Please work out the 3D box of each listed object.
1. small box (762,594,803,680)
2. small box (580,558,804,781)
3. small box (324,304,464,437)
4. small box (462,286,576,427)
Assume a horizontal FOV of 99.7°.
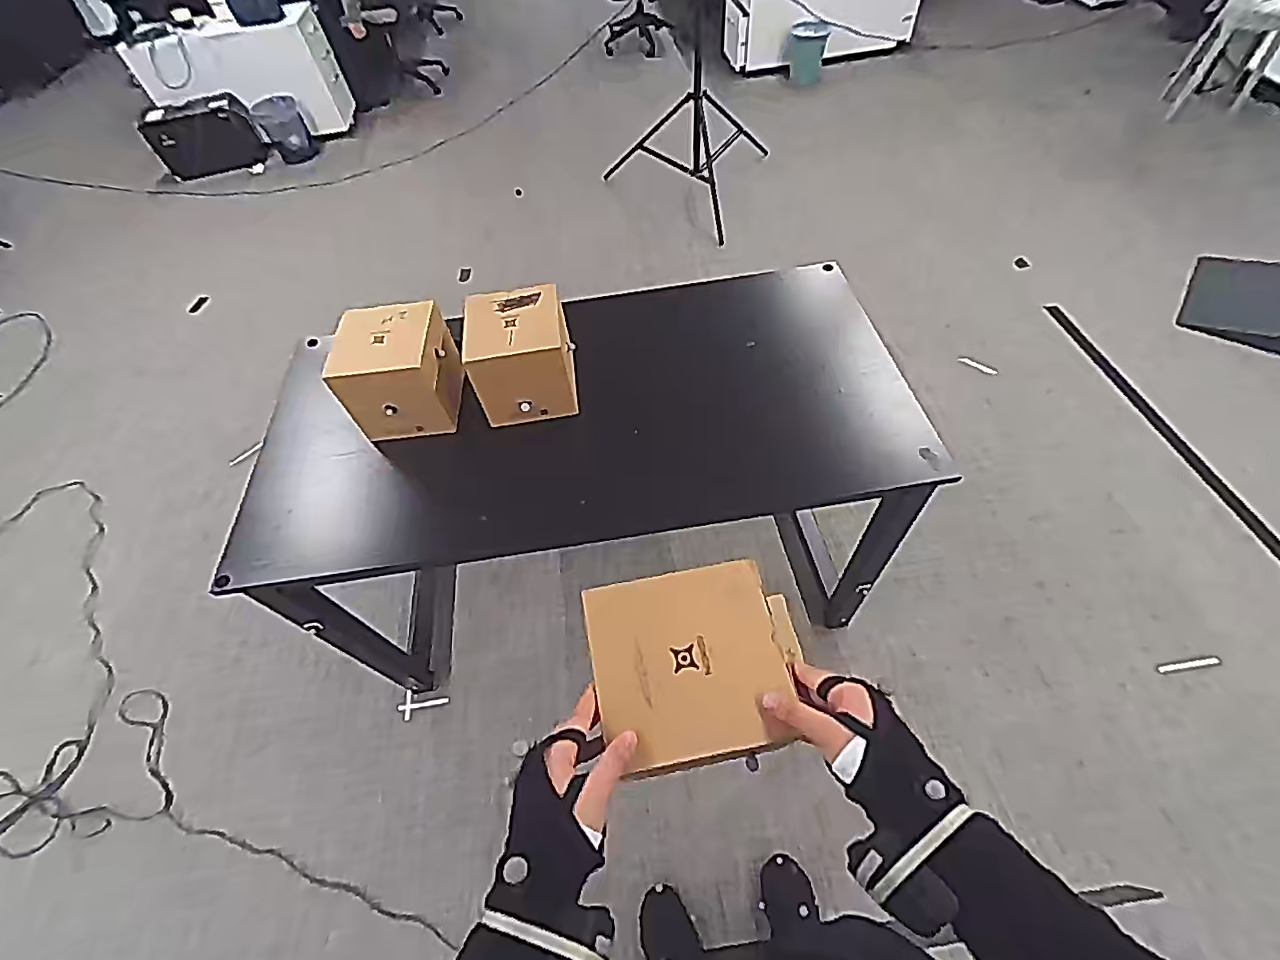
[{"bbox_3d":[0.299,0.417,1.385,0.168,0.176,0.179,-10,54,0],"label":"small box"},{"bbox_3d":[0.044,0.201,0.560,0.179,0.176,0.168,-12,58,-3],"label":"small box"},{"bbox_3d":[-0.438,-0.193,0.994,0.168,0.176,0.179,-6,54,1],"label":"small box"},{"bbox_3d":[-0.215,-0.224,0.994,0.168,0.176,0.179,-9,55,-1],"label":"small box"}]
